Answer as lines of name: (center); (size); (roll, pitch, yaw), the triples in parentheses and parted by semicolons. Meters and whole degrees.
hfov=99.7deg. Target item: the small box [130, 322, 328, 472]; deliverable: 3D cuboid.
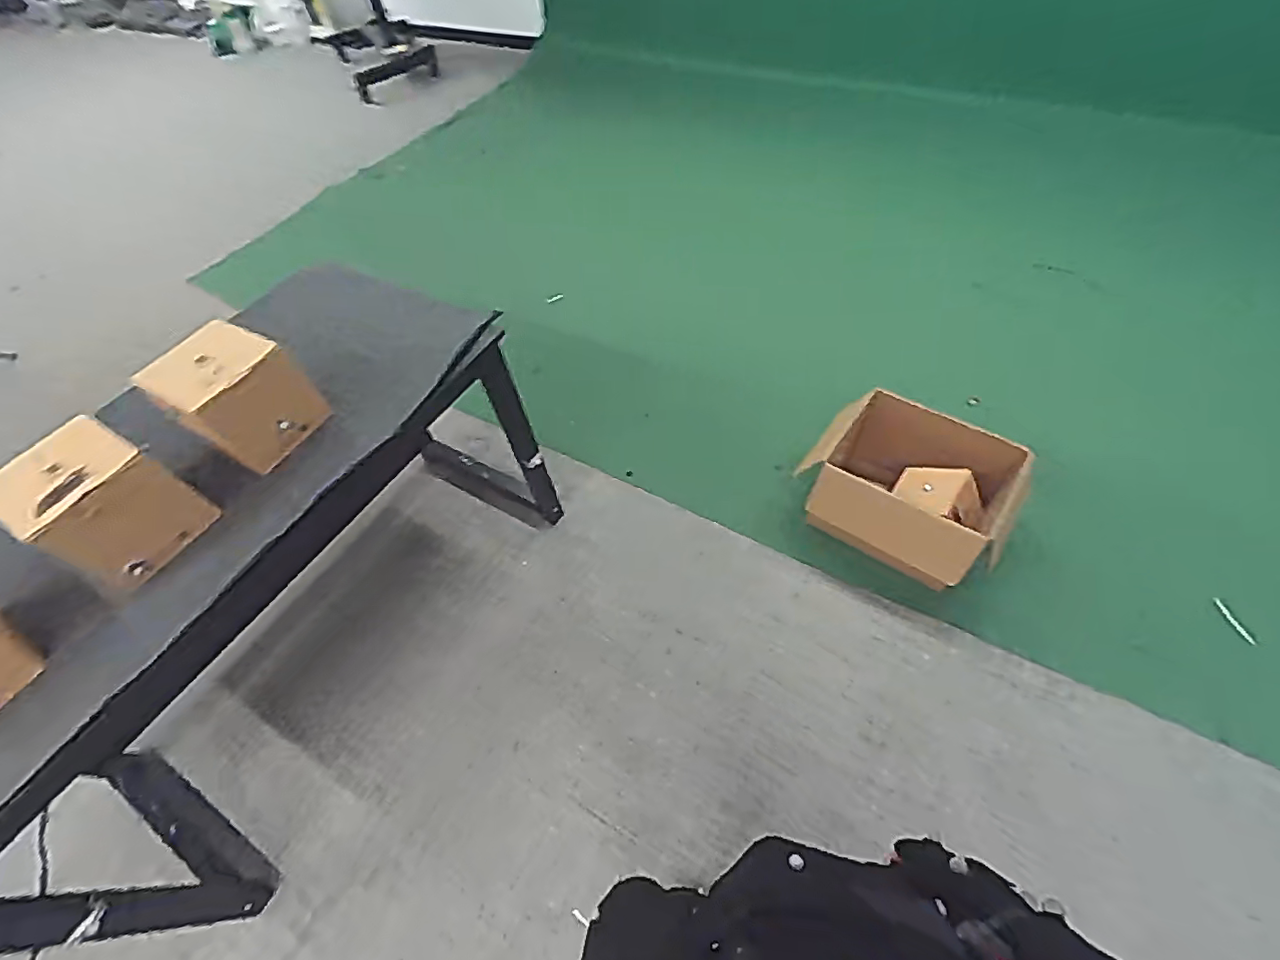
small box: (-0.697, -0.139, 0.937); (0.179, 0.176, 0.168); (22, 61, 20)

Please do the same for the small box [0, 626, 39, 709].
small box: (-0.962, 0.250, 0.692); (0.179, 0.176, 0.168); (22, 59, 20)

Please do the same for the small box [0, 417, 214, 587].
small box: (-0.815, 0.040, 0.824); (0.179, 0.176, 0.168); (24, 60, 21)
